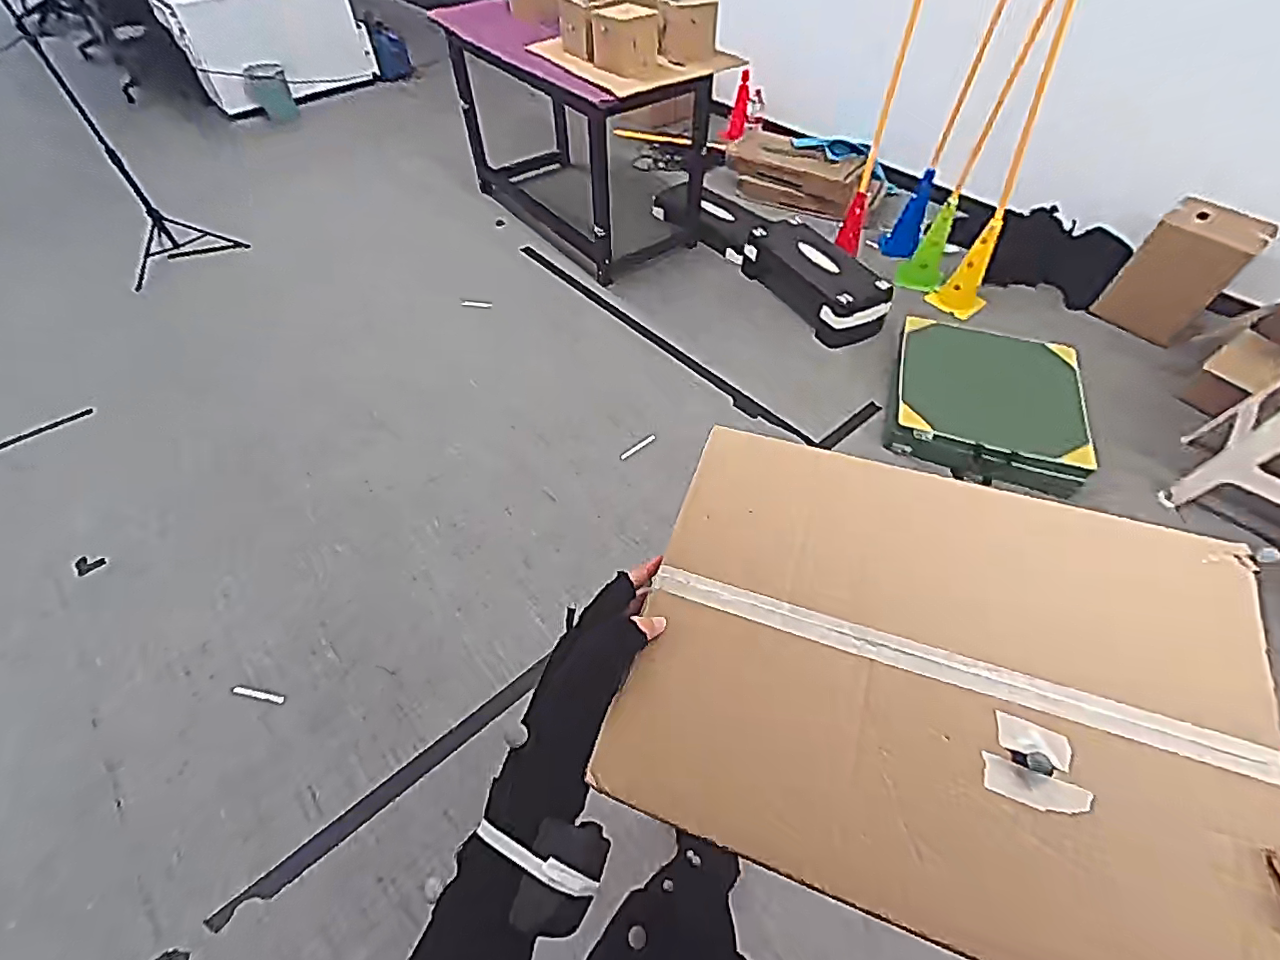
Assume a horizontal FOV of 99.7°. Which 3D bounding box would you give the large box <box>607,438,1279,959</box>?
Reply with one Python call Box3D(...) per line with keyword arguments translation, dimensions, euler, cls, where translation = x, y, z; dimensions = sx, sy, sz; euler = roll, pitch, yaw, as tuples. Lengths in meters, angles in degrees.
Box3D(translation=(0.225, 0.206, 0.529), dimensions=(0.408, 0.320, 0.320), euler=(15, 64, 16), cls="large box")
